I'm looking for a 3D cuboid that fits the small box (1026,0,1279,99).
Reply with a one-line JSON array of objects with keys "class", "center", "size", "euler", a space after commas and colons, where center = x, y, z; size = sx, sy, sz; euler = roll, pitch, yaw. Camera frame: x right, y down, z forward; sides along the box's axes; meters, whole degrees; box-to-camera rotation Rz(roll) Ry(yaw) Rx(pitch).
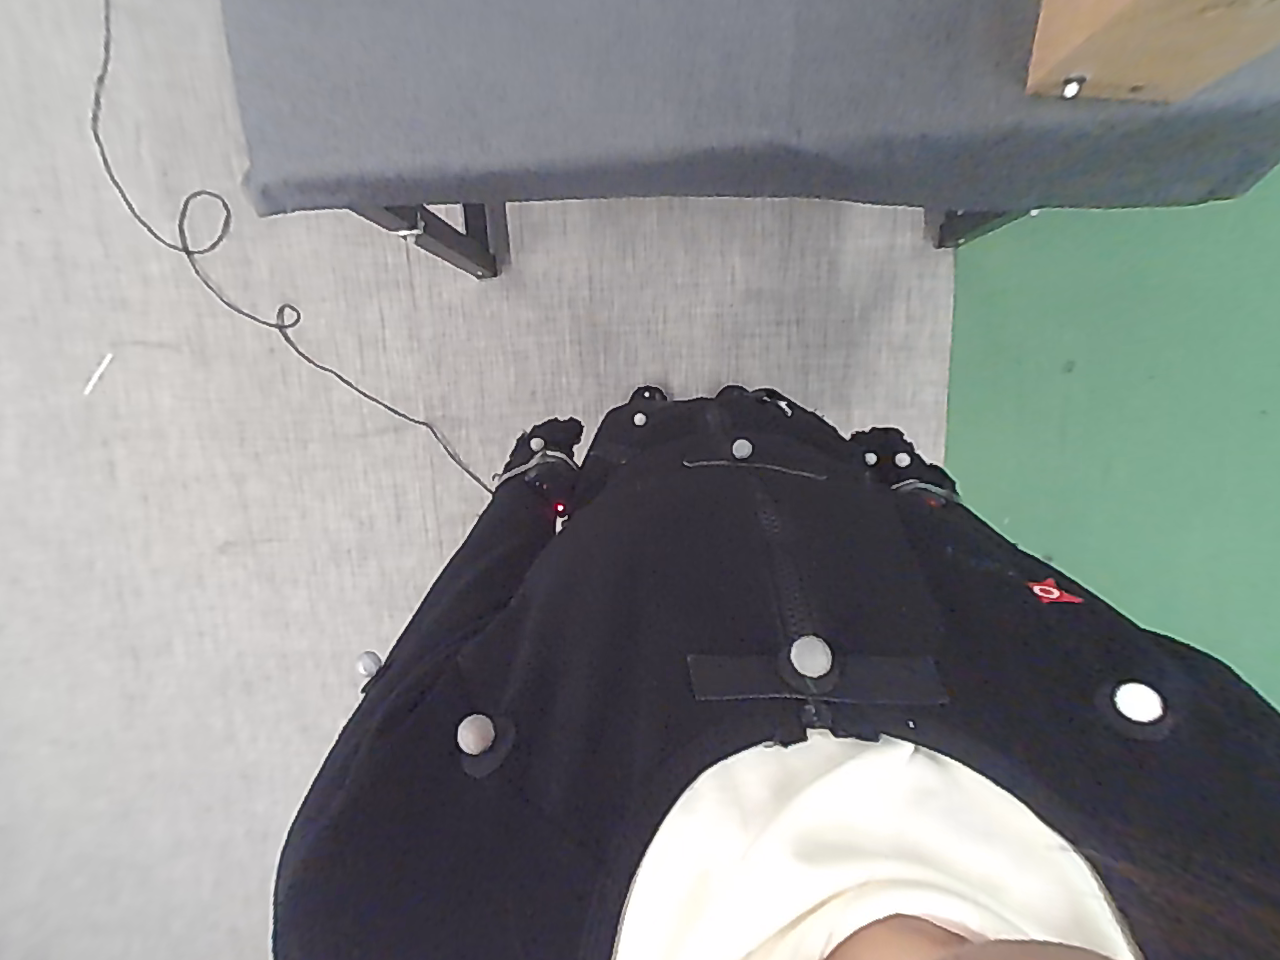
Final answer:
[{"class": "small box", "center": [0.506, -0.494, 0.507], "size": [0.168, 0.176, 0.179], "euler": [6, 99, 2]}]
